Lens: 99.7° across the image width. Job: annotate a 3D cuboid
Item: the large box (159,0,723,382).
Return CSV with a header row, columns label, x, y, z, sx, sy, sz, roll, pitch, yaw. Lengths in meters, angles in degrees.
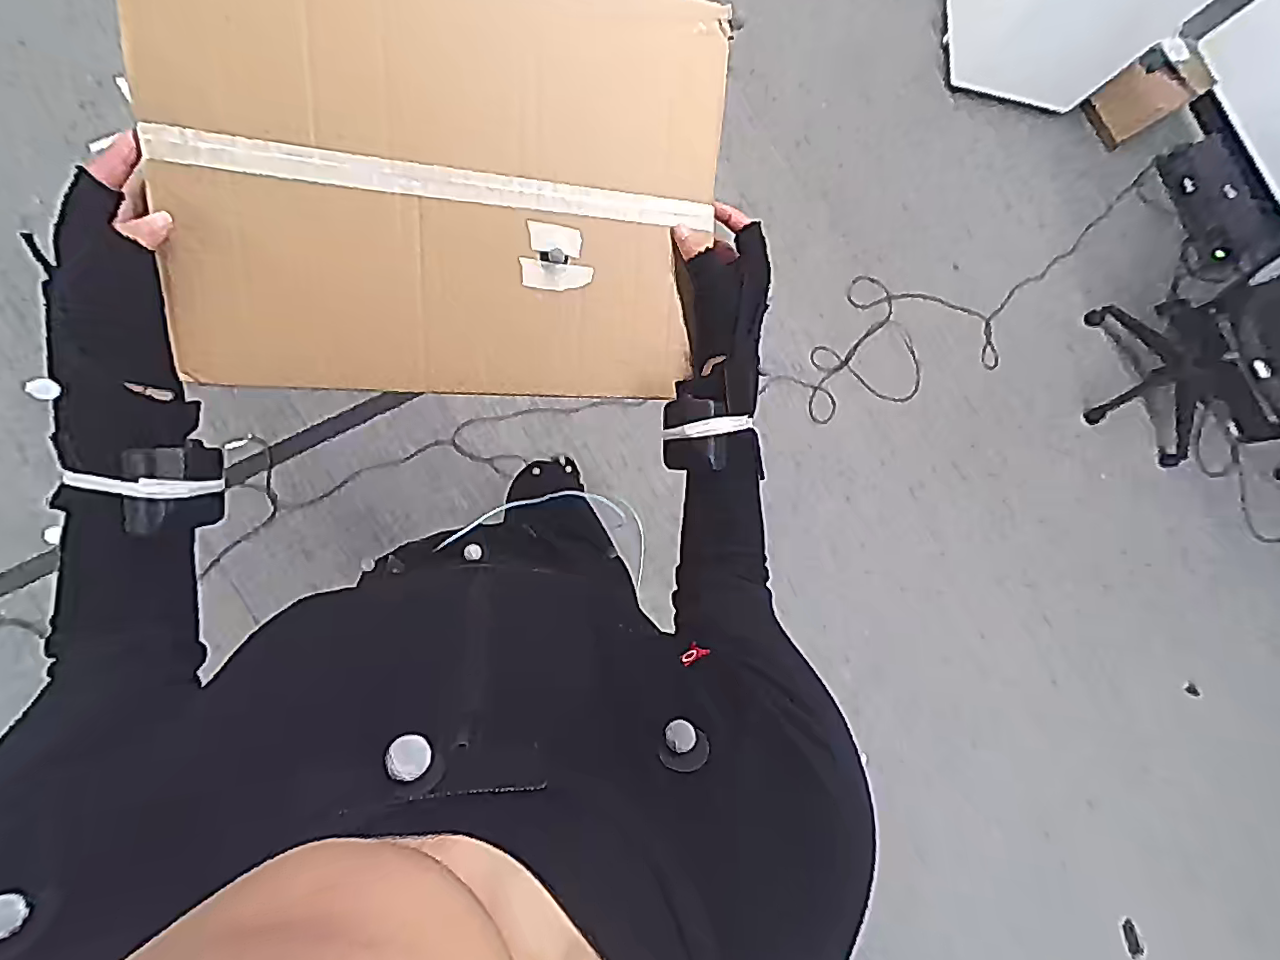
label,x,y,z,sx,sy,sz,roll,pitch,yaw
large box,-0.173,-0.277,0.565,0.408,0.320,0.320,-1,107,-18
